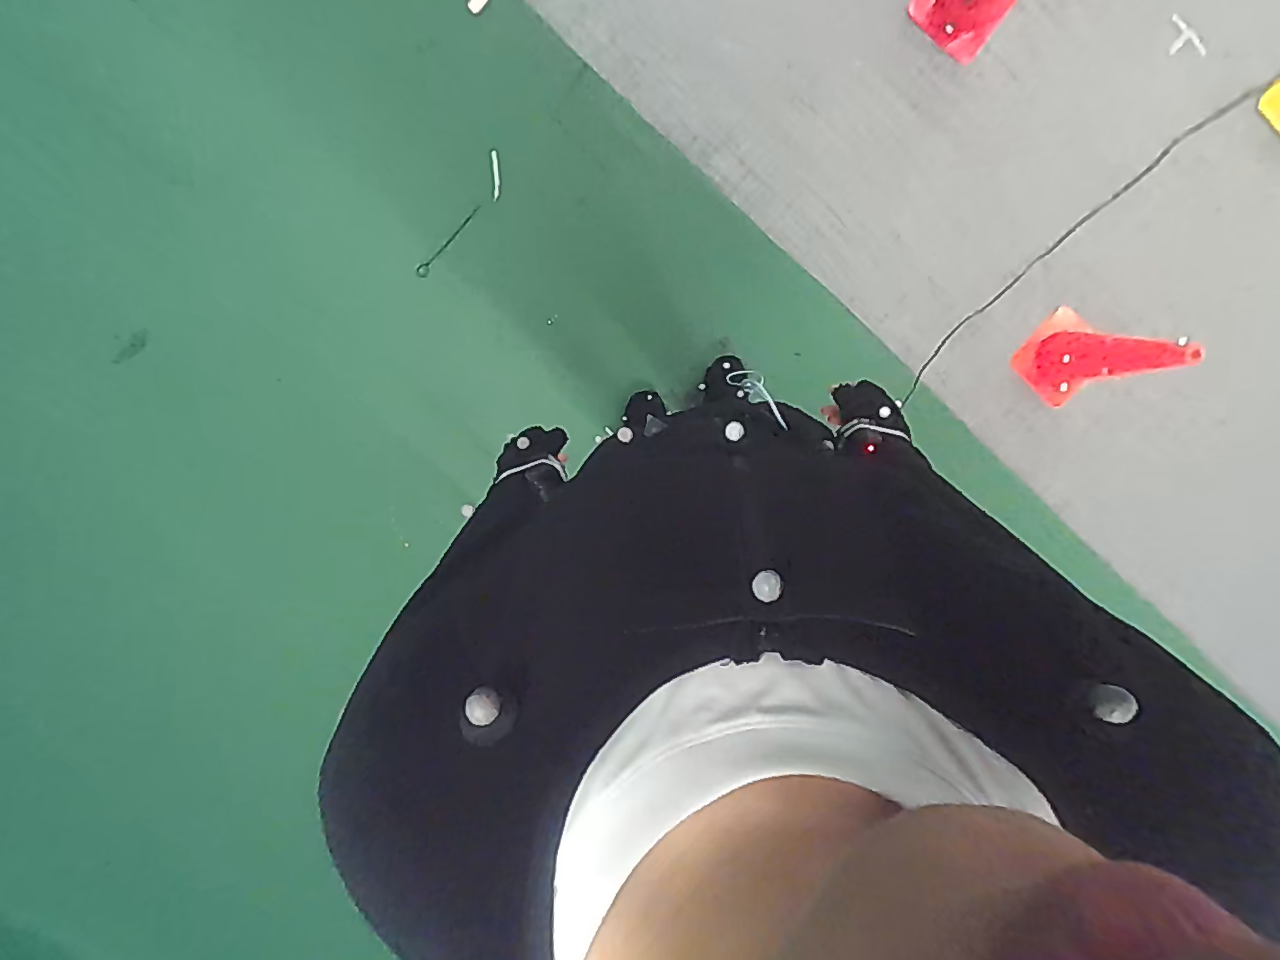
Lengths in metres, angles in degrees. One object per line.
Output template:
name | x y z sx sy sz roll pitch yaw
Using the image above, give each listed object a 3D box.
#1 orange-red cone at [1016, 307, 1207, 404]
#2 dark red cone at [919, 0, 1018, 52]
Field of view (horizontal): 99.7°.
orange-red cone | 1.128 -0.296 1.268 0.198 0.360 0.199 40 97 -9
dark red cone | 0.764 -1.089 1.078 0.202 0.394 0.201 34 100 -7
